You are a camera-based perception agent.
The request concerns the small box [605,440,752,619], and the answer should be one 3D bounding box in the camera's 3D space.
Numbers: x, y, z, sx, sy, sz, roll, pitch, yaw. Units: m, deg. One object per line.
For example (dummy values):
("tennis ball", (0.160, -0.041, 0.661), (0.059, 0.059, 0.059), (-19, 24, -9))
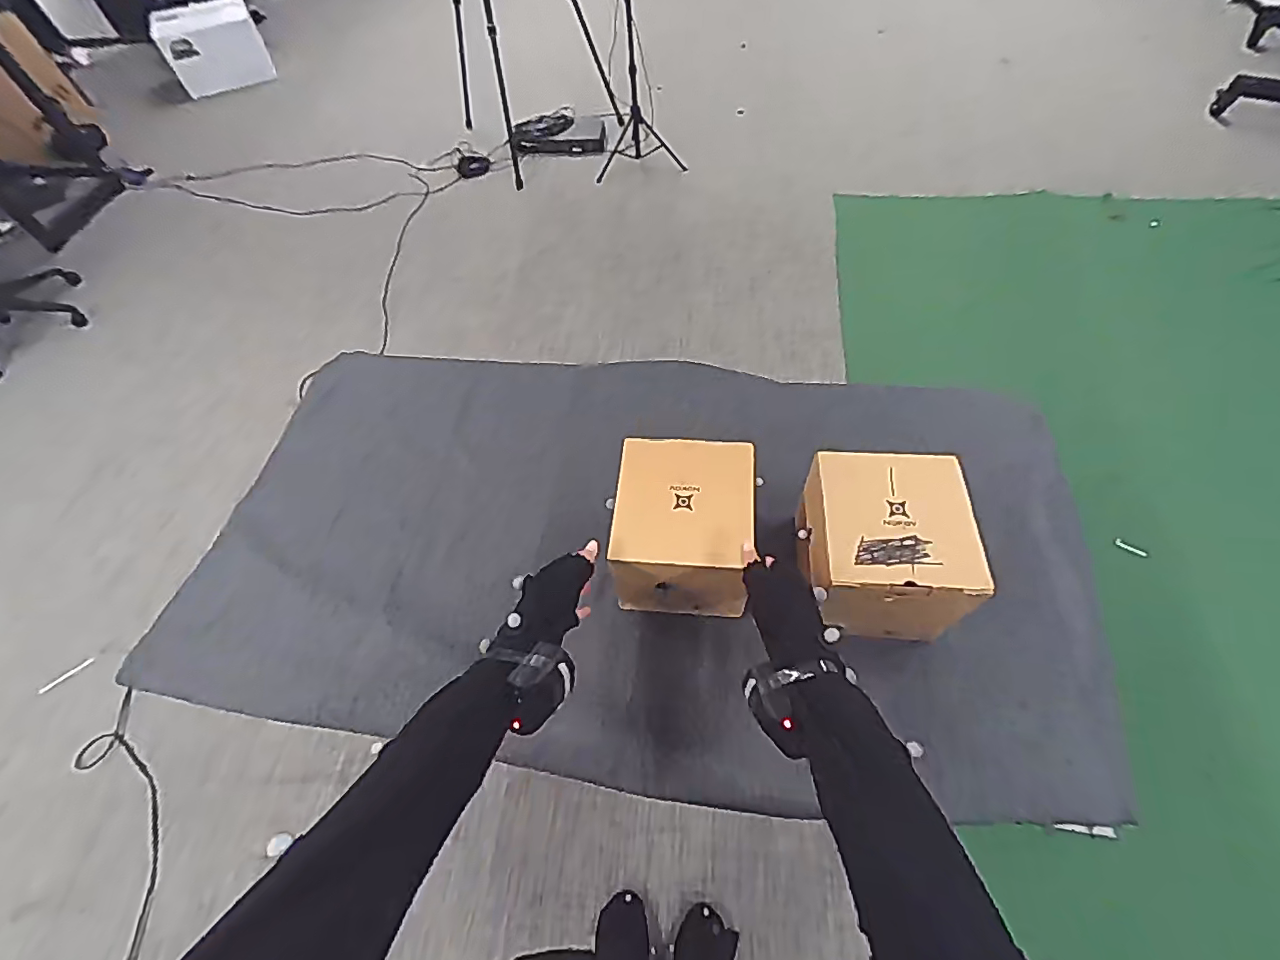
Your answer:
("small box", (0.057, 0.069, 0.703), (0.168, 0.176, 0.179), (3, 56, 6))
